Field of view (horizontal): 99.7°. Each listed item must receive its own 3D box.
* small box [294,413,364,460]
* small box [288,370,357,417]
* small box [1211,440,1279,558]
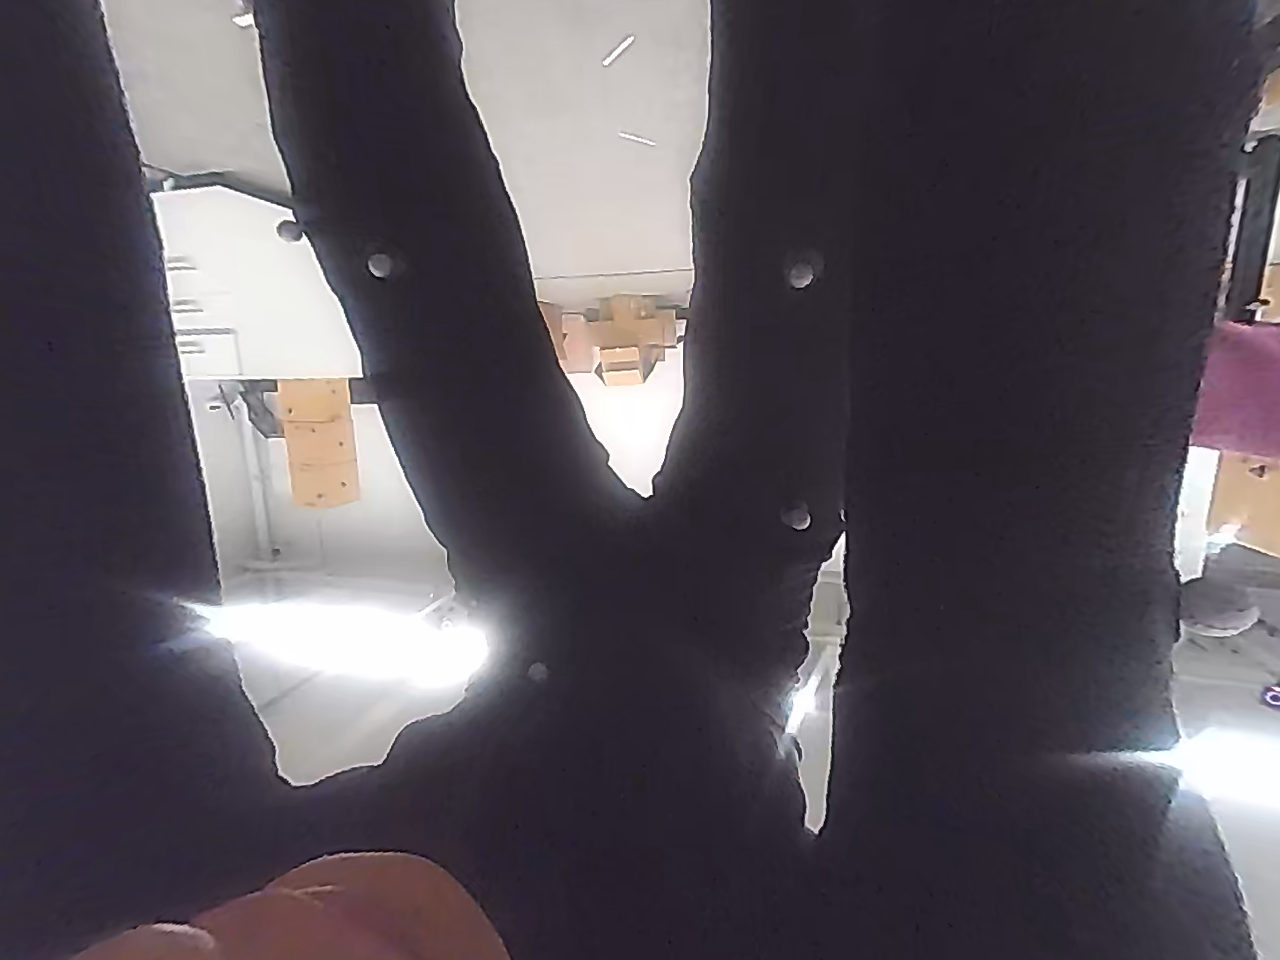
[{"bbox_3d":[-1.232,-0.179,2.143,0.168,0.176,0.179,3,-167,14],"label":"small box"},{"bbox_3d":[-1.238,-0.340,2.109,0.179,0.176,0.168,3,-168,15],"label":"small box"},{"bbox_3d":[1.090,0.030,0.861,0.179,0.176,0.168,3,-168,15],"label":"small box"}]
